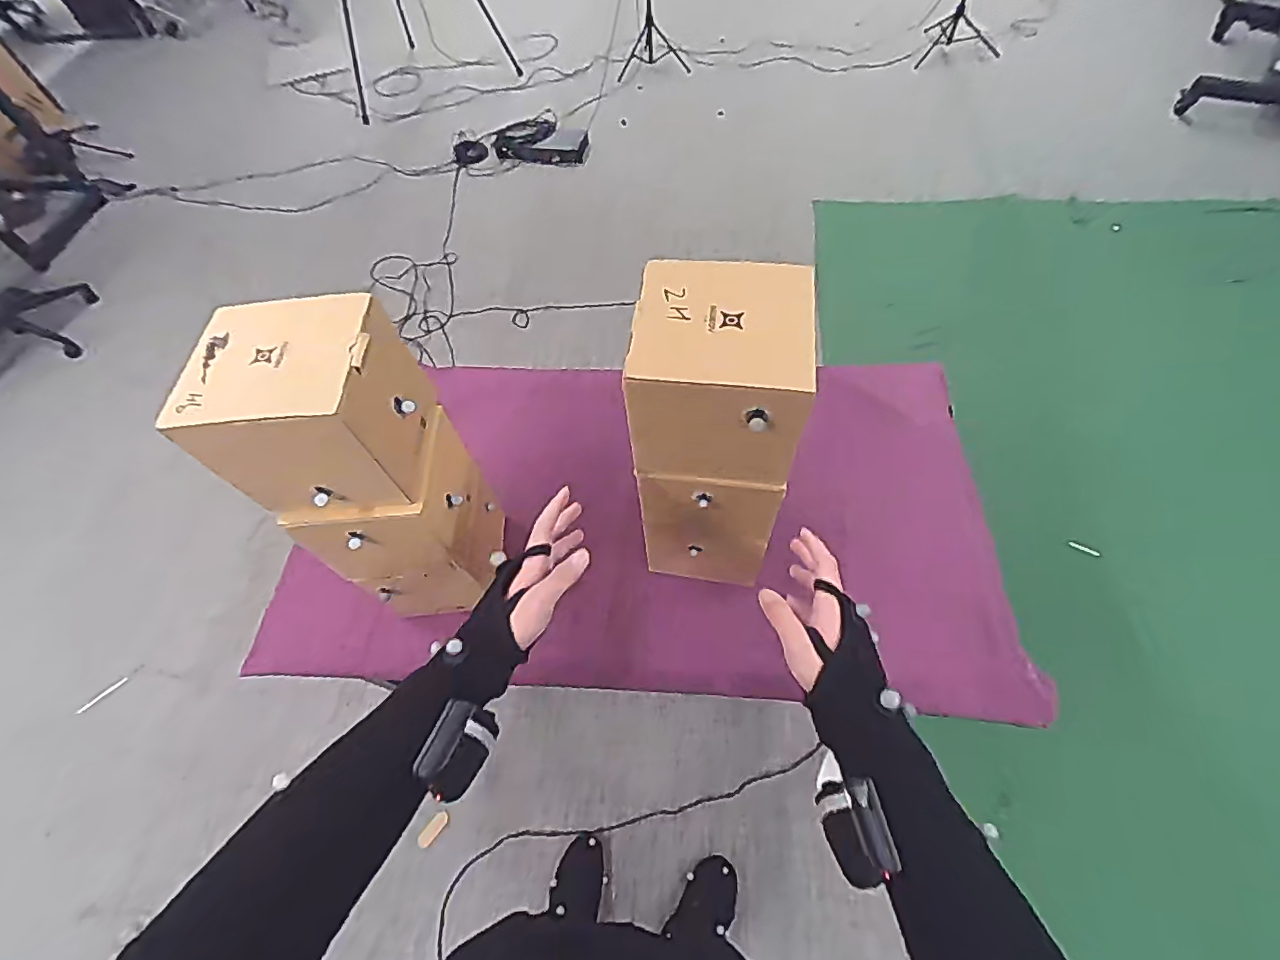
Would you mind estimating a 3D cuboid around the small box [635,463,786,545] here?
[{"bbox_3d":[0.098,-0.024,0.730,0.179,0.176,0.168,7,61,8],"label":"small box"}]

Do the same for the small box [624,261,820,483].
[{"bbox_3d":[0.087,-0.110,0.589,0.179,0.176,0.168,6,61,8],"label":"small box"}]

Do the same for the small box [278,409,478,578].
[{"bbox_3d":[-0.333,0.024,0.732,0.179,0.176,0.168,-5,58,2],"label":"small box"}]

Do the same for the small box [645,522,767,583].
[{"bbox_3d":[0.111,0.055,0.871,0.179,0.176,0.168,8,61,8],"label":"small box"}]

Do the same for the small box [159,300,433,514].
[{"bbox_3d":[-0.352,-0.074,0.600,0.179,0.176,0.168,-4,58,2],"label":"small box"}]
